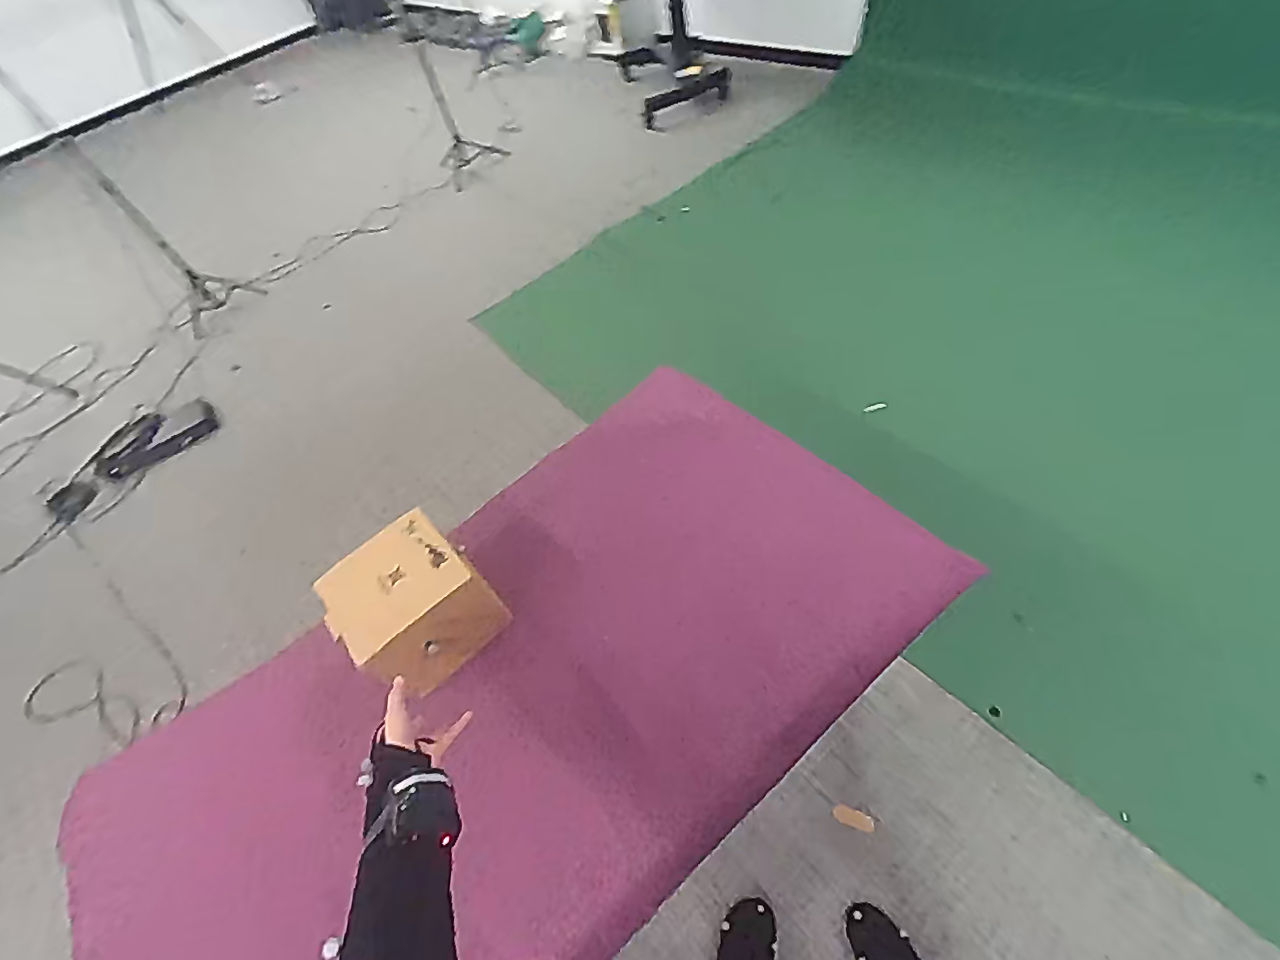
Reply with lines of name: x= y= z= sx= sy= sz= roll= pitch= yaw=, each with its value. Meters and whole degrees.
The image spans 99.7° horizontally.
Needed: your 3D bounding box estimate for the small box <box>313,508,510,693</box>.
small box: x=-0.324 y=0.181 z=0.793 sx=0.179 sy=0.176 sz=0.168 roll=-40 pitch=58 yaw=-16
